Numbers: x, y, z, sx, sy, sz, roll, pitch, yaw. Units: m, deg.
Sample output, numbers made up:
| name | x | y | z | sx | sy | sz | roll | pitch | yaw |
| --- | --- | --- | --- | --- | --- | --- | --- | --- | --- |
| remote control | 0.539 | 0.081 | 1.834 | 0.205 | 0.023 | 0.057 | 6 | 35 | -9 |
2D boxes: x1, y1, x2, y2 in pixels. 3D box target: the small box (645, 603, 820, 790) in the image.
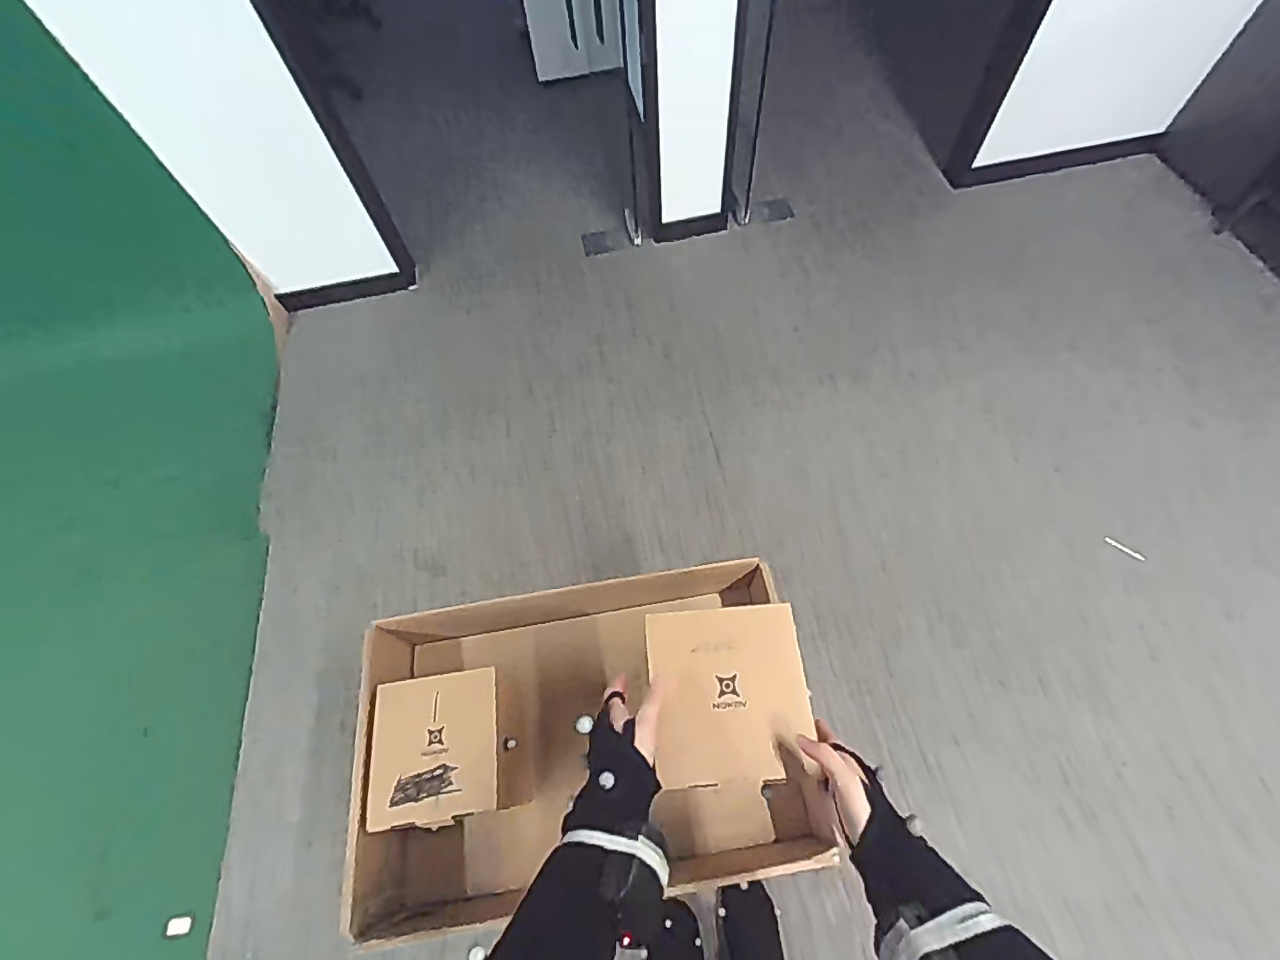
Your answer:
| name | x | y | z | sx | sy | sz | roll | pitch | yaw |
| --- | --- | --- | --- | --- | --- | --- | --- | --- | --- |
| small box | 0.096 | 0.255 | 0.633 | 0.168 | 0.176 | 0.179 | -4 | 61 | 1 |
